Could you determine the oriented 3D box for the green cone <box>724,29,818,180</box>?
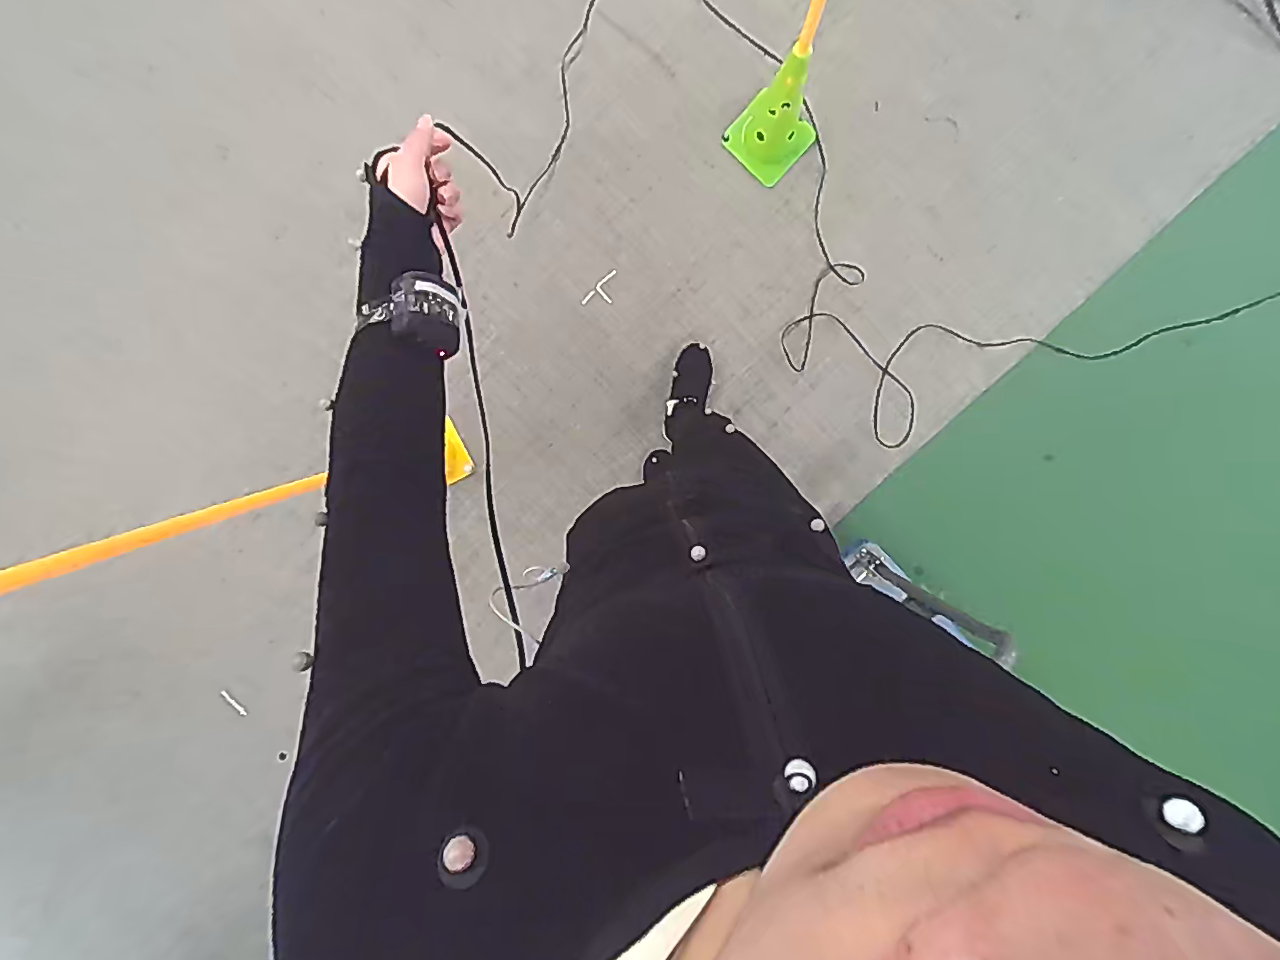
[{"bbox_3d":[0.360,-0.945,1.321,0.200,0.368,0.202,43,94,-3],"label":"green cone"}]
